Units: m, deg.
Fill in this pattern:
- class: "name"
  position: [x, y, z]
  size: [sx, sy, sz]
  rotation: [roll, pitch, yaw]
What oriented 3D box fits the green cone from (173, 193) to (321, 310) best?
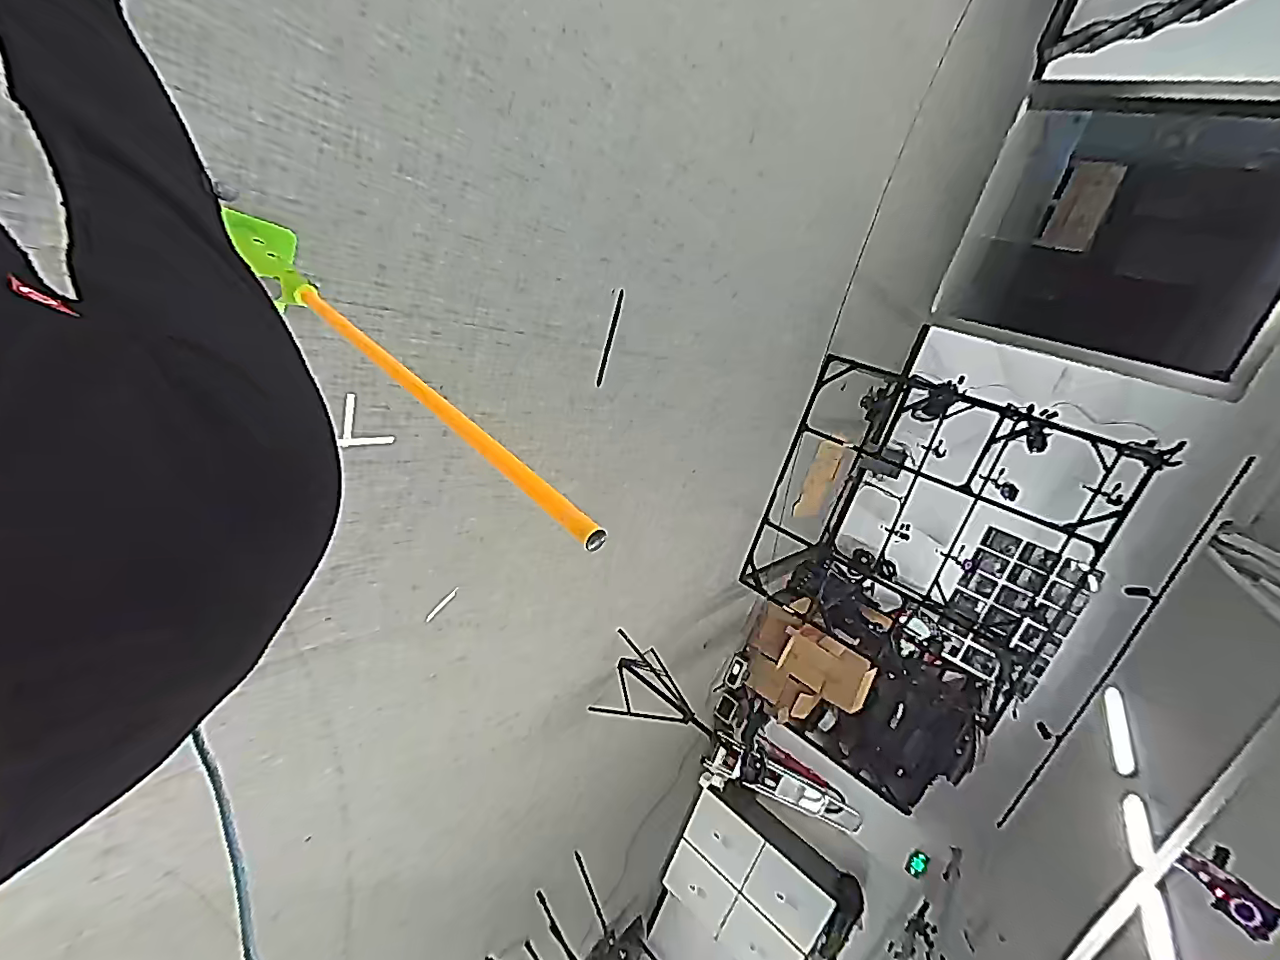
- class: "green cone"
  position: [-0.750, -0.416, 1.086]
  size: [0.202, 0.368, 0.200]
  rotation: [-1, 115, -56]
